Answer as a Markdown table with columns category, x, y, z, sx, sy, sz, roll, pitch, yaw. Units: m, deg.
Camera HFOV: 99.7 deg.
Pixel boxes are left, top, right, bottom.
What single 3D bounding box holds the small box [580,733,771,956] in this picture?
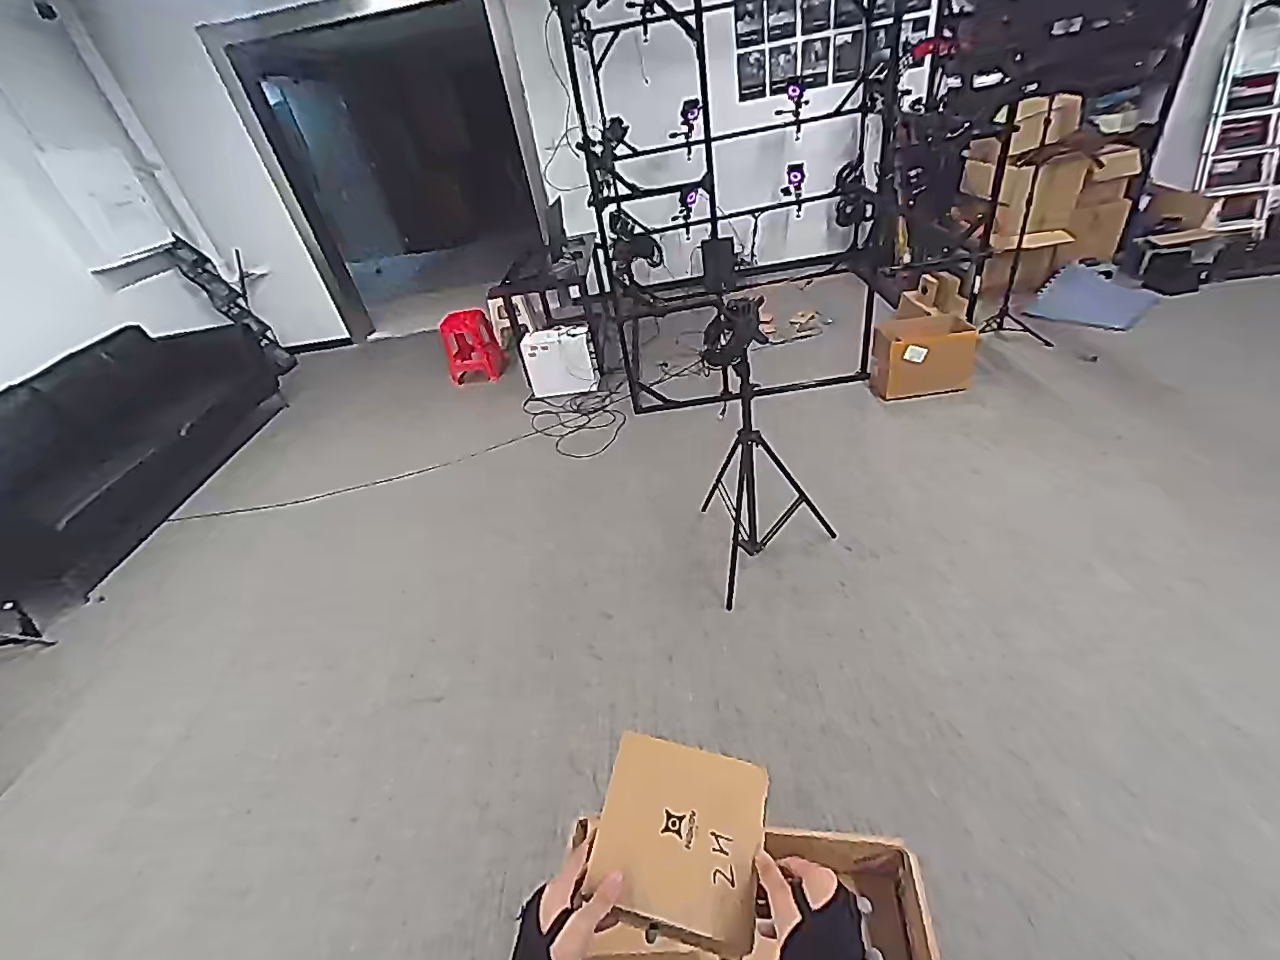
| category | x | y | z | sx | sy | sz | roll | pitch | yaw |
| --- | --- | --- | --- | --- | --- | --- | --- | --- | --- |
| small box | 0.045 | 0.428 | 0.633 | 0.179 | 0.176 | 0.168 | 11 | 48 | 11 |

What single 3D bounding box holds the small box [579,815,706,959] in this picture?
| category | x | y | z | sx | sy | sz | roll | pitch | yaw |
| --- | --- | --- | --- | --- | --- | --- | --- | --- | --- |
| small box | 0.010 | 0.646 | 0.835 | 0.168 | 0.176 | 0.179 | -7 | 35 | 5 |
